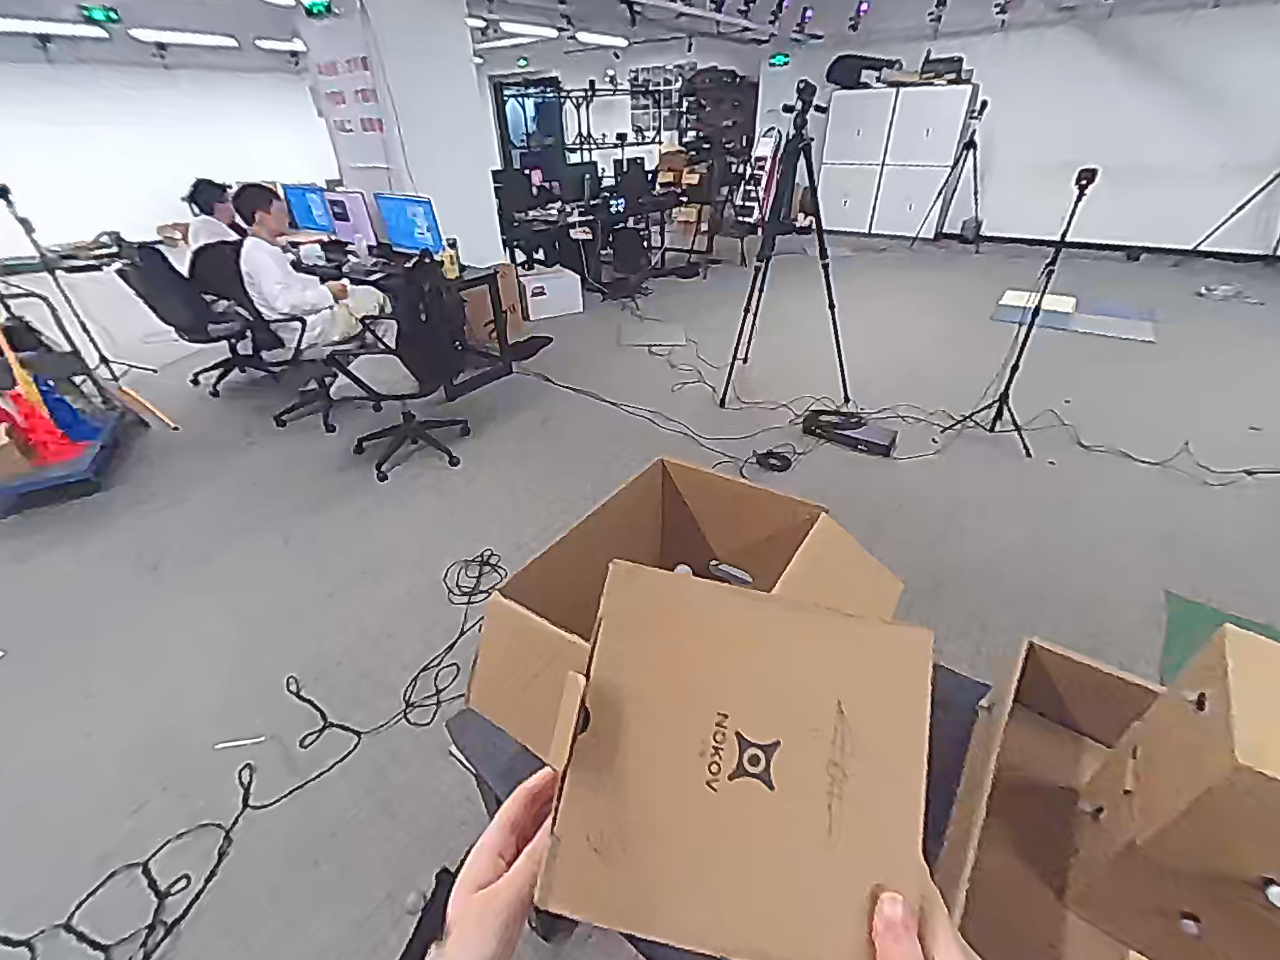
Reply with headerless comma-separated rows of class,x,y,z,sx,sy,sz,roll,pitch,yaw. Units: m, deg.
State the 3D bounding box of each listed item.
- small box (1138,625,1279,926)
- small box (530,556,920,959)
small box,0.591,0.275,0.487,0.168,0.176,0.179,22,42,32
small box,0.048,0.156,0.347,0.179,0.176,0.168,11,75,2
